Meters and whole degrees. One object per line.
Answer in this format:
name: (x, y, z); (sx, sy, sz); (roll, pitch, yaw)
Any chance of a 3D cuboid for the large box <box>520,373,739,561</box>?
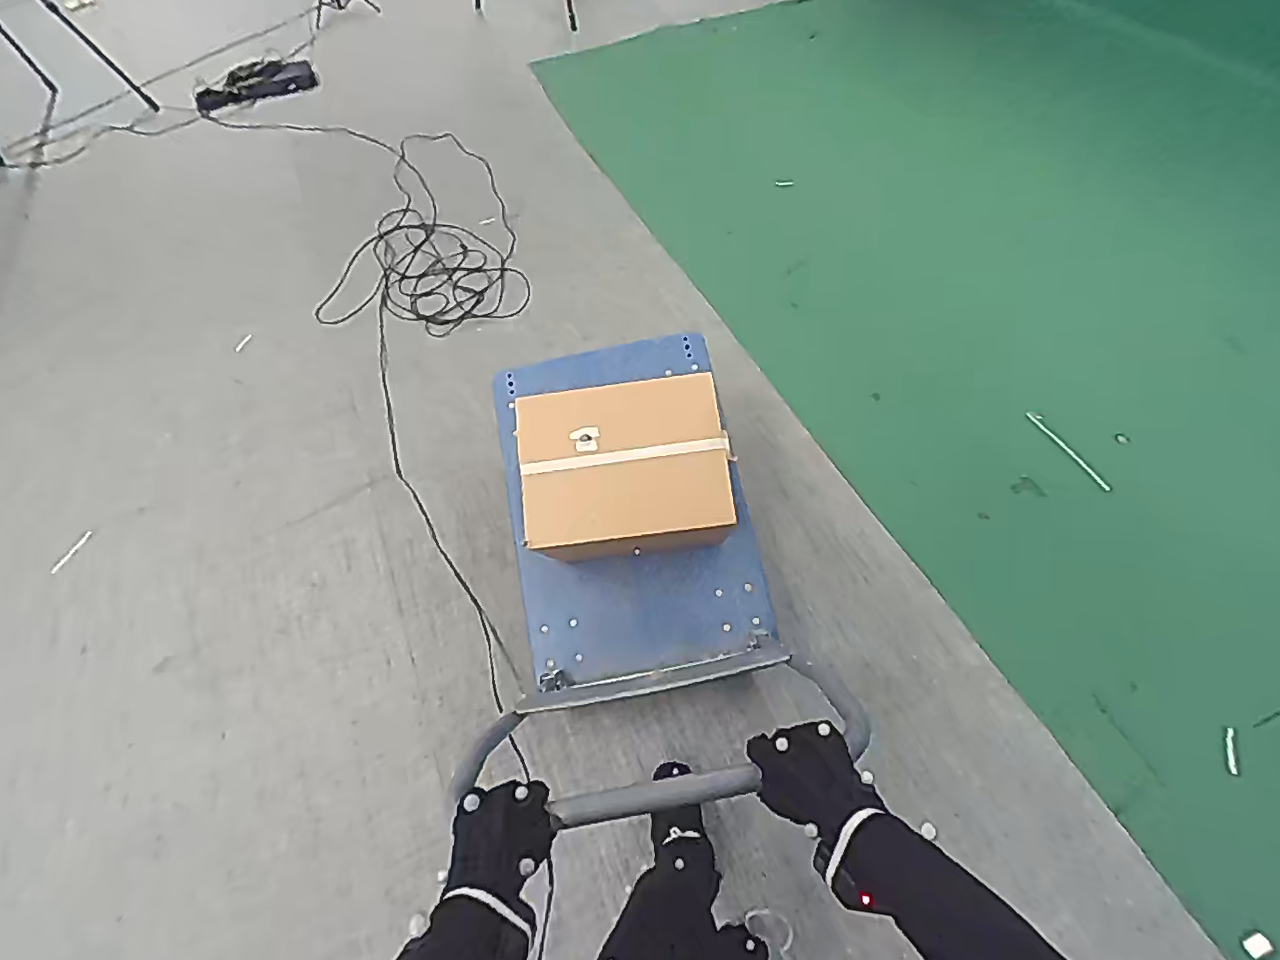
large box: (-0.015, -0.007, 1.200); (0.408, 0.320, 0.320); (-8, 76, 3)
